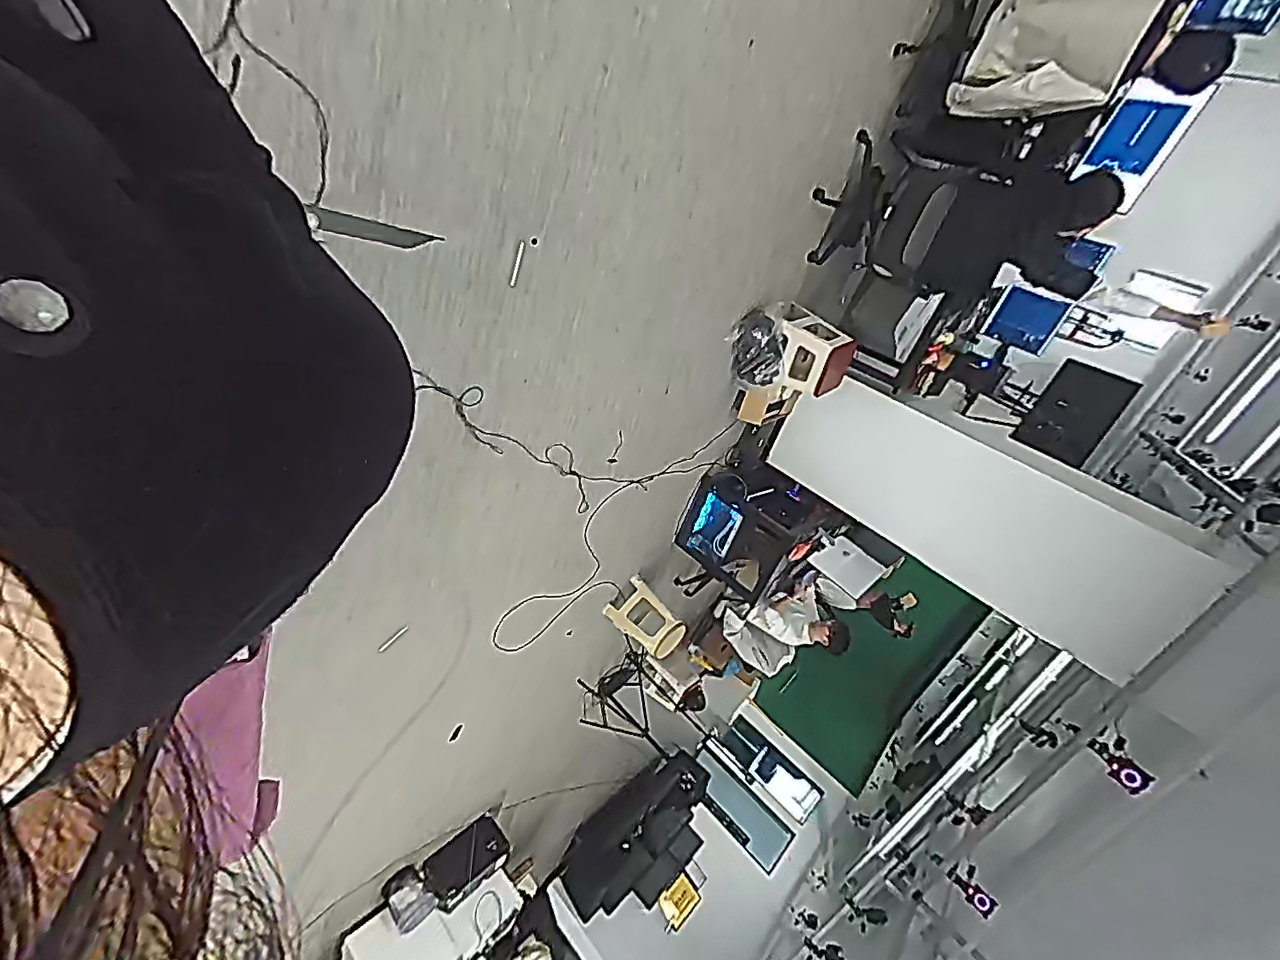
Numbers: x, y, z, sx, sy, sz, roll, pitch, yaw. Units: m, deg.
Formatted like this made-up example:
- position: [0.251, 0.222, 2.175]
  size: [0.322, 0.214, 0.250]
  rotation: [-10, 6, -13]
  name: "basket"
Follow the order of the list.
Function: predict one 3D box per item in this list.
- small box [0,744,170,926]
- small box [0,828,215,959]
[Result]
- position: [-0.813, 0.535, 0.793]
  size: [0.168, 0.176, 0.179]
  rotation: [-15, 134, -49]
  name: "small box"
- position: [-0.699, 0.622, 0.718]
  size: [0.179, 0.176, 0.168]
  rotation: [-17, 137, -48]
  name: "small box"
